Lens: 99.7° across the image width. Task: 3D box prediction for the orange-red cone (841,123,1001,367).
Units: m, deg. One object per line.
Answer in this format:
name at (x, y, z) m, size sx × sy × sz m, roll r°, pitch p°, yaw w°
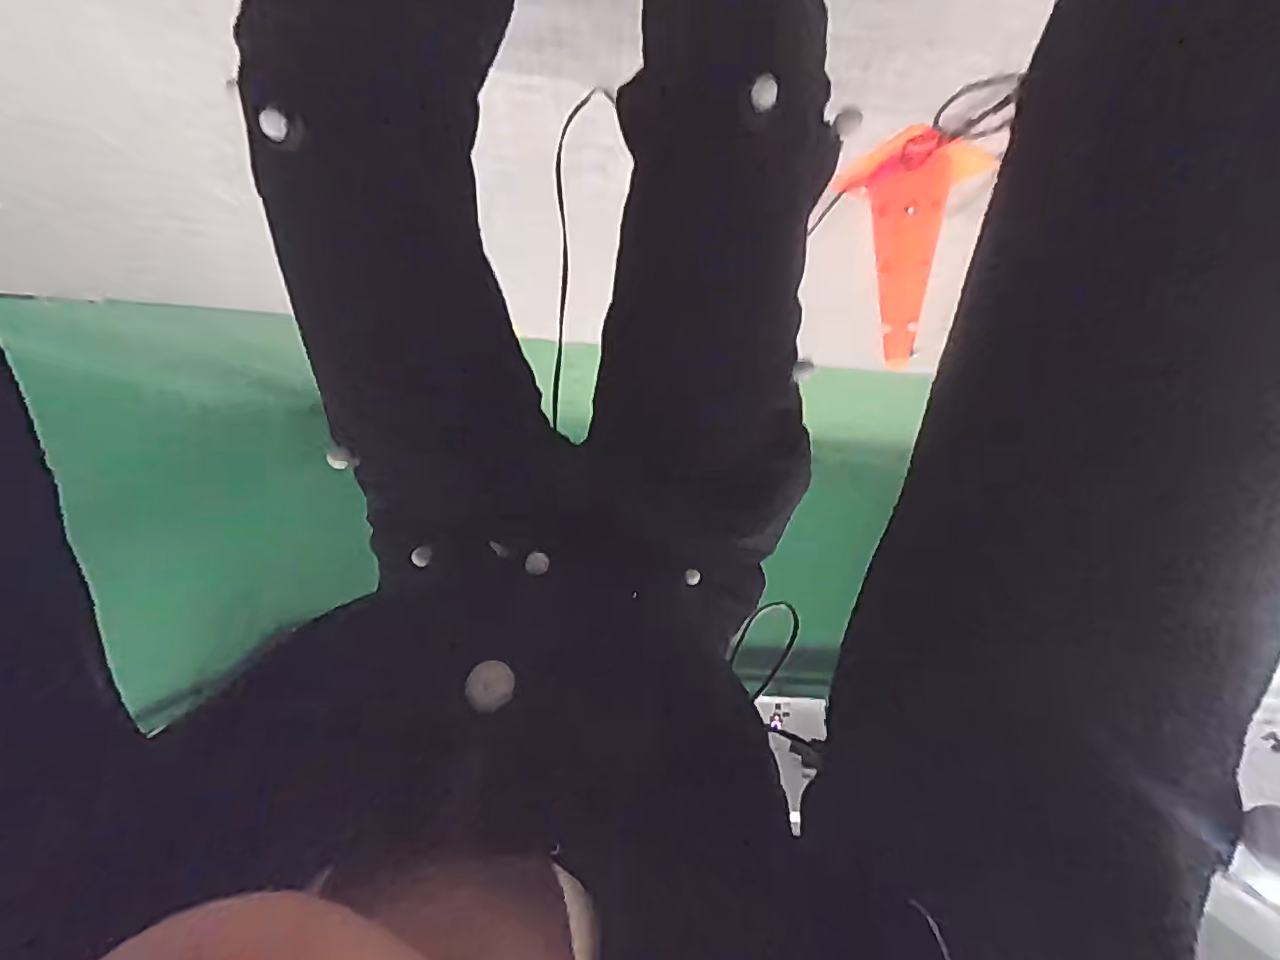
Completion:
orange-red cone at (0.478, -0.380, 0.953) m, size 0.199 × 0.360 × 0.198 m, roll 4°, pitch 180°, yaw -23°
